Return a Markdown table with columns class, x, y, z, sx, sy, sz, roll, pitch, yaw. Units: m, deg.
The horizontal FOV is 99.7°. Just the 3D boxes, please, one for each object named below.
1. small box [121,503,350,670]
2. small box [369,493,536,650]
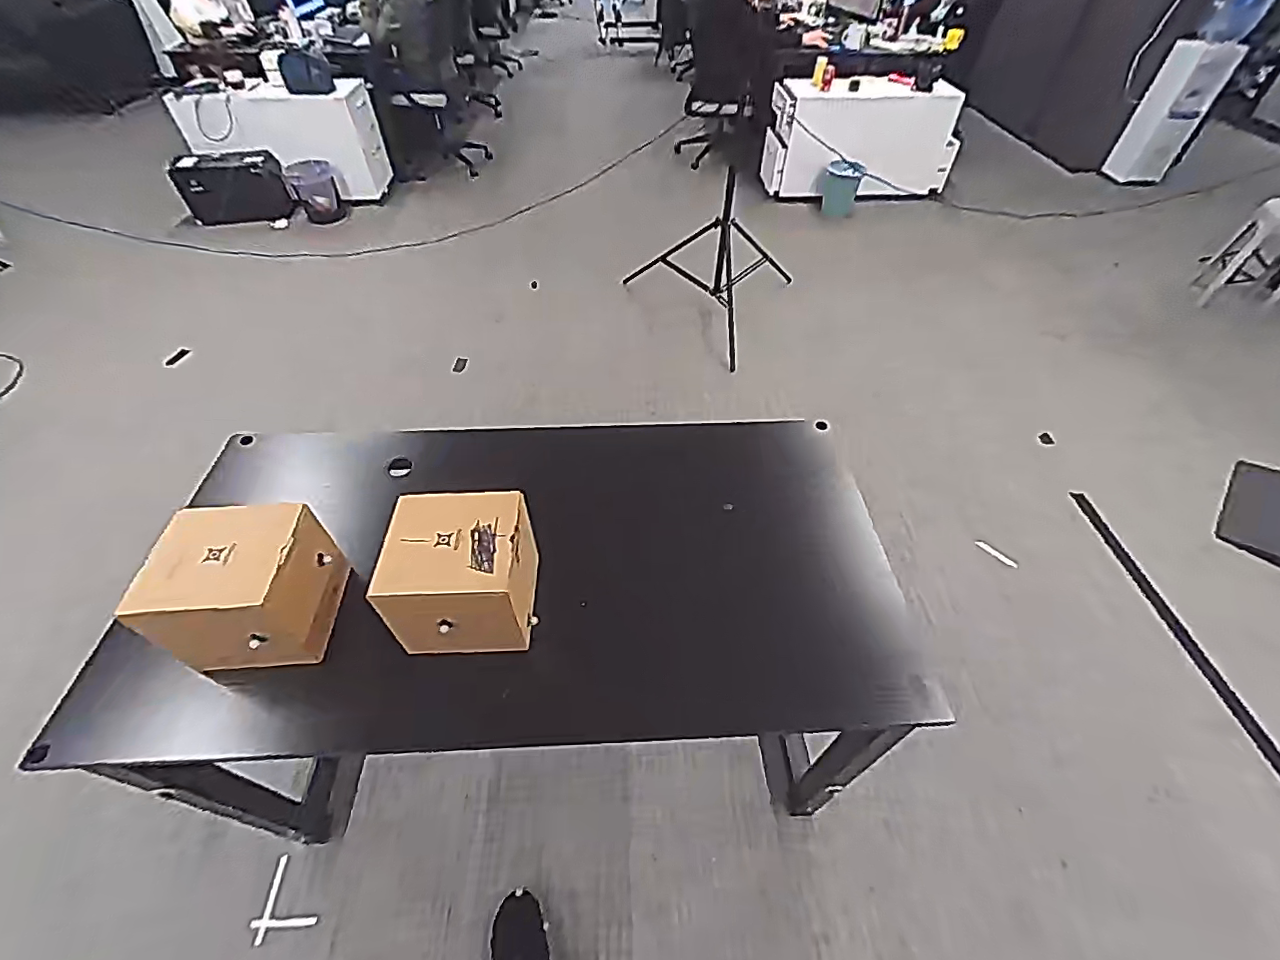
| class | x | y | z | sx | sy | sz | roll | pitch | yaw |
| --- | --- | --- | --- | --- | --- | --- | --- | --- | --- |
| small box | -0.545 | 0.153 | 0.766 | 0.179 | 0.176 | 0.168 | -5 | 48 | -3 |
| small box | -0.252 | 0.134 | 0.782 | 0.179 | 0.176 | 0.168 | -2 | 48 | -1 |
